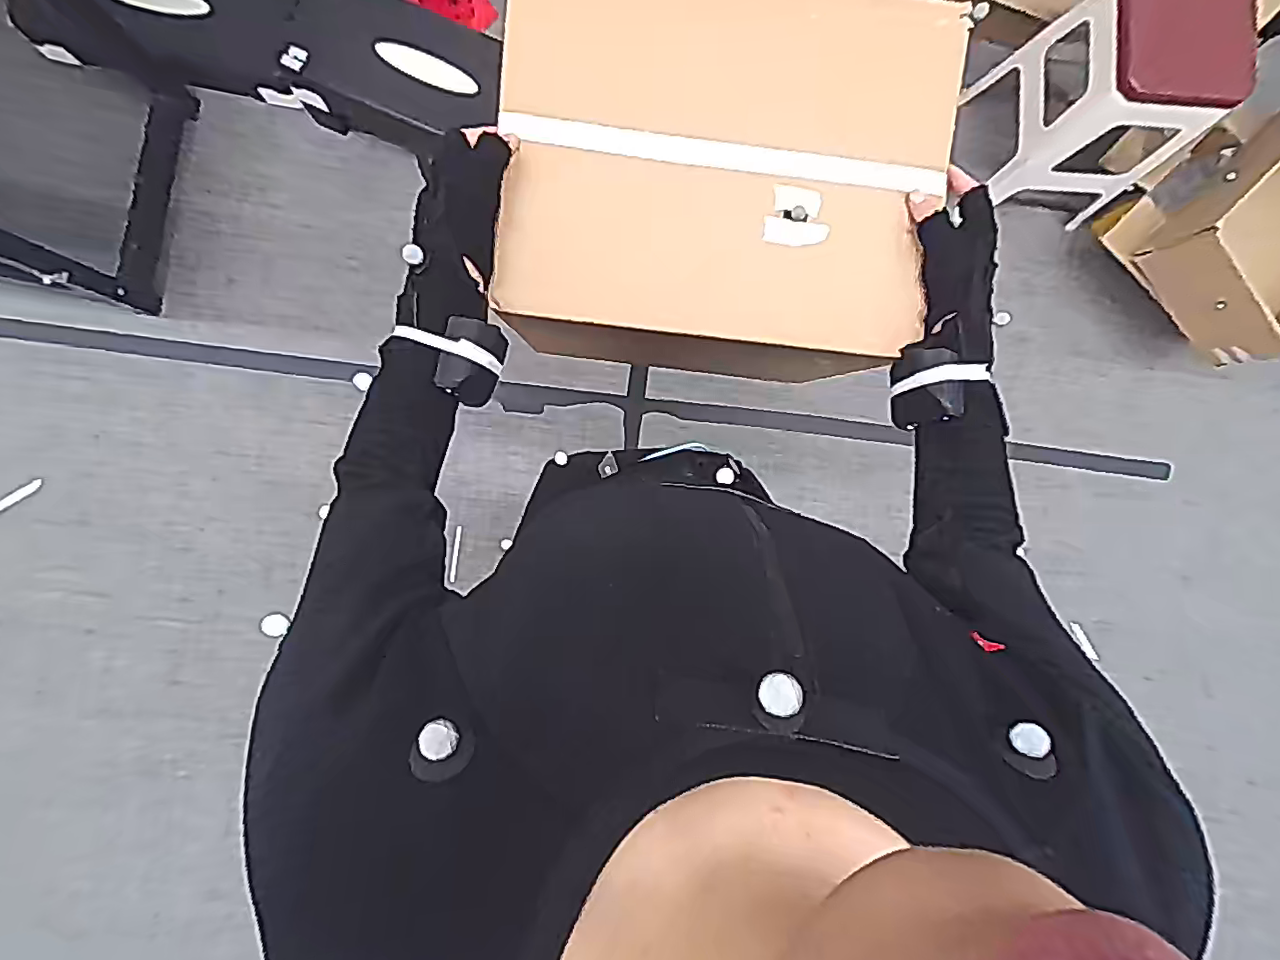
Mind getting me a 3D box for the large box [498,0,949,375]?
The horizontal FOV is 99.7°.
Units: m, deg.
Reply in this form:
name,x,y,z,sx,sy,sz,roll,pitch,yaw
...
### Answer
name,x,y,z,sx,sy,sz,roll,pitch,yaw
large box,0.065,-0.310,0.647,0.408,0.320,0.320,6,97,-5
